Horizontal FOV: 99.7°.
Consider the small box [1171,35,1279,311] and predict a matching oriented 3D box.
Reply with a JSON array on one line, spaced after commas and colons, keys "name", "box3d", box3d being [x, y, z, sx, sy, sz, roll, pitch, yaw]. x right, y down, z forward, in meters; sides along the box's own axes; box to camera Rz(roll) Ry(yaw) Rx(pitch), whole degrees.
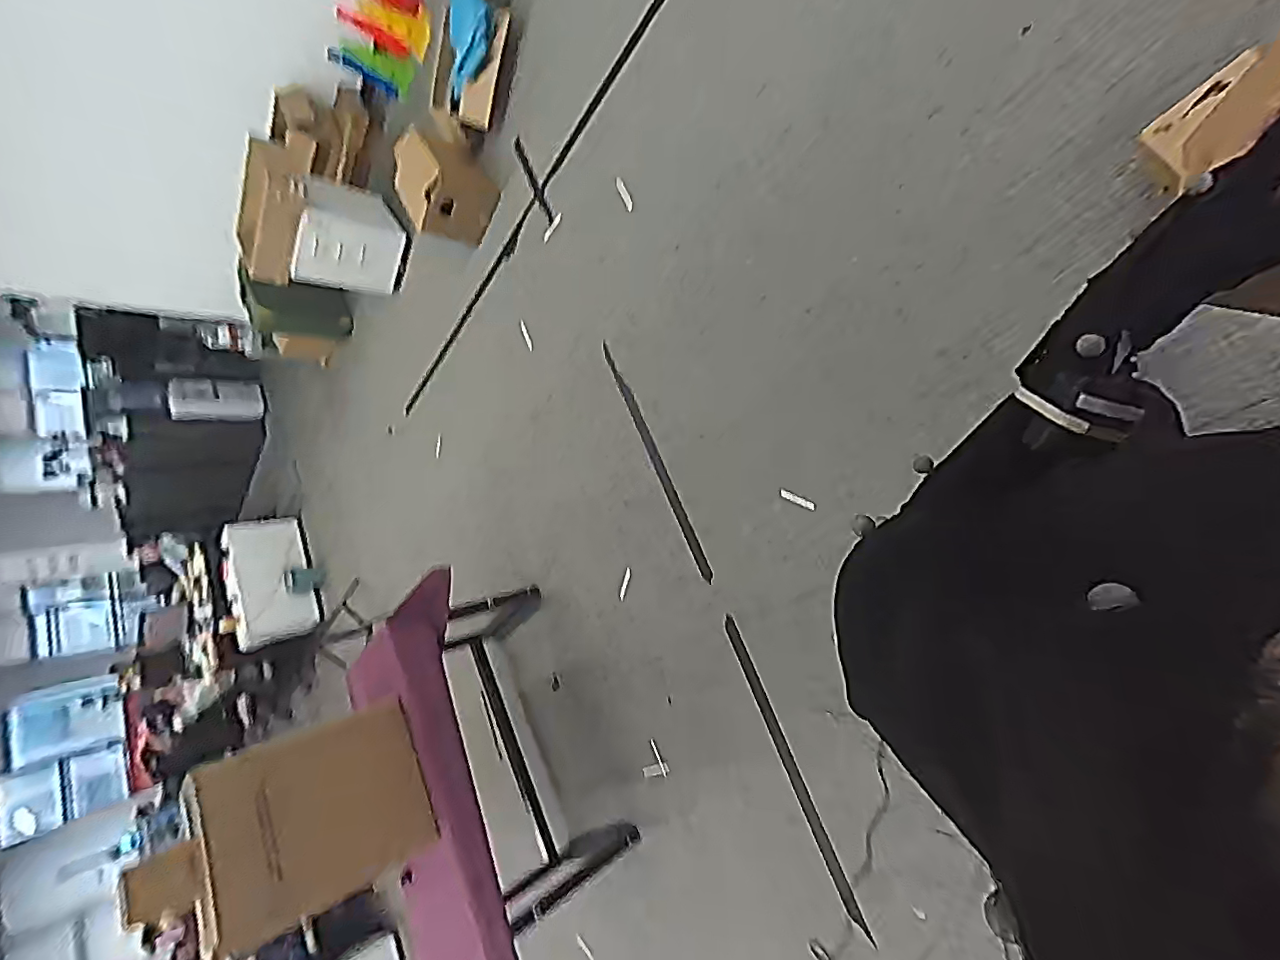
[{"name": "small box", "box3d": [0.500, -0.216, 0.345, 0.179, 0.176, 0.168, 15, 75, 14]}]

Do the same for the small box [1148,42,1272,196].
[{"name": "small box", "box3d": [1.066, -0.615, 0.969, 0.168, 0.176, 0.179, -39, 68, 39]}]

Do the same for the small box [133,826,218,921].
[{"name": "small box", "box3d": [-1.365, 1.151, 1.588, 0.179, 0.176, 0.168, -38, 69, 37]}]
